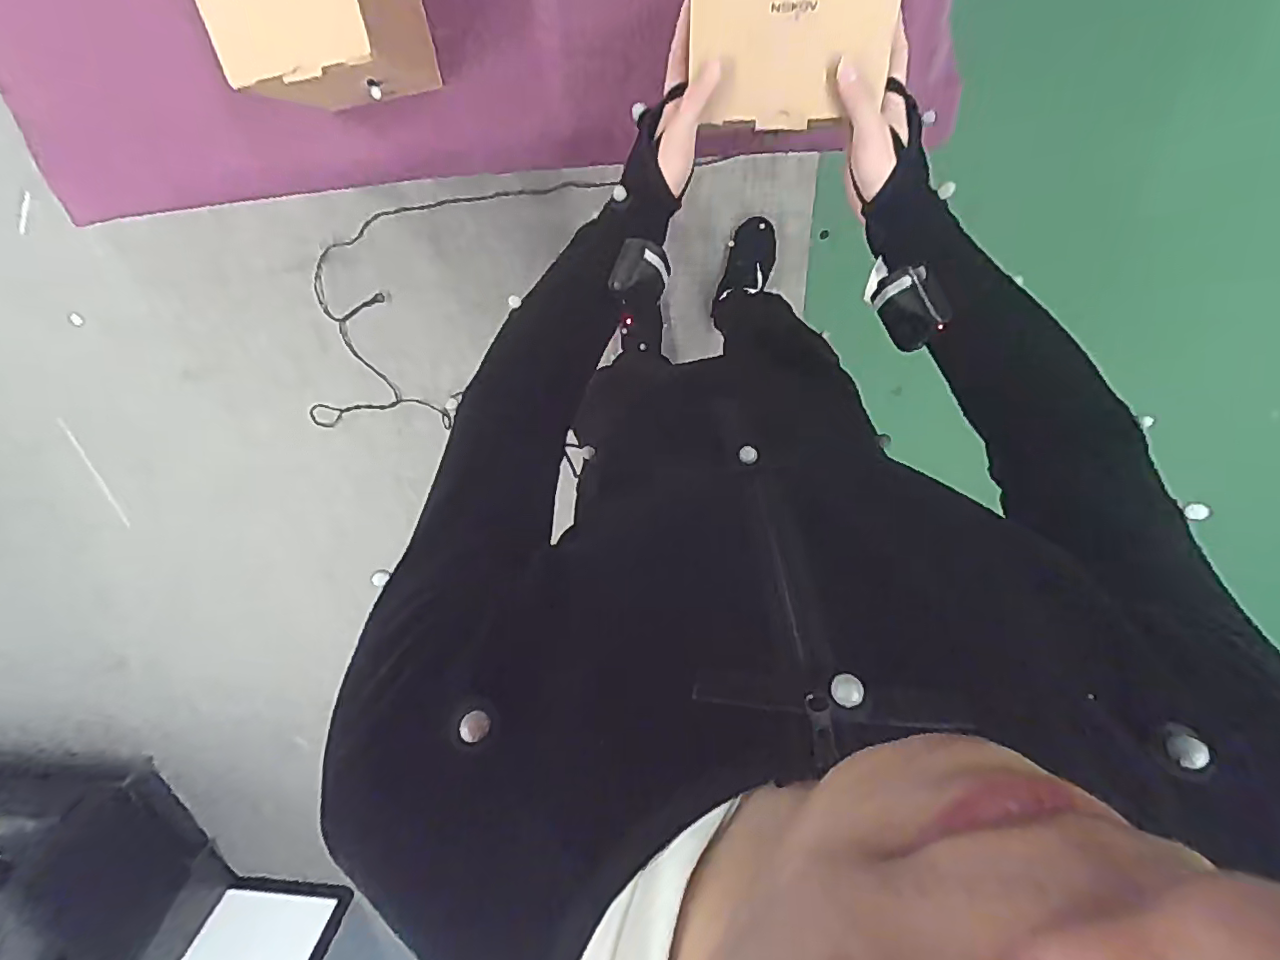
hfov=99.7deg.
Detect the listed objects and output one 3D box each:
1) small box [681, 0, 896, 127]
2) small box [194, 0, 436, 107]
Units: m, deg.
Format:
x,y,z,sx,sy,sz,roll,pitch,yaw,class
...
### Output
x,y,z,sx,sy,sz,roll,pitch,yaw,class
0.127,-0.424,0.486,0.168,0.176,0.179,3,123,6,small box
-0.346,-0.519,0.580,0.168,0.176,0.179,-4,117,9,small box
